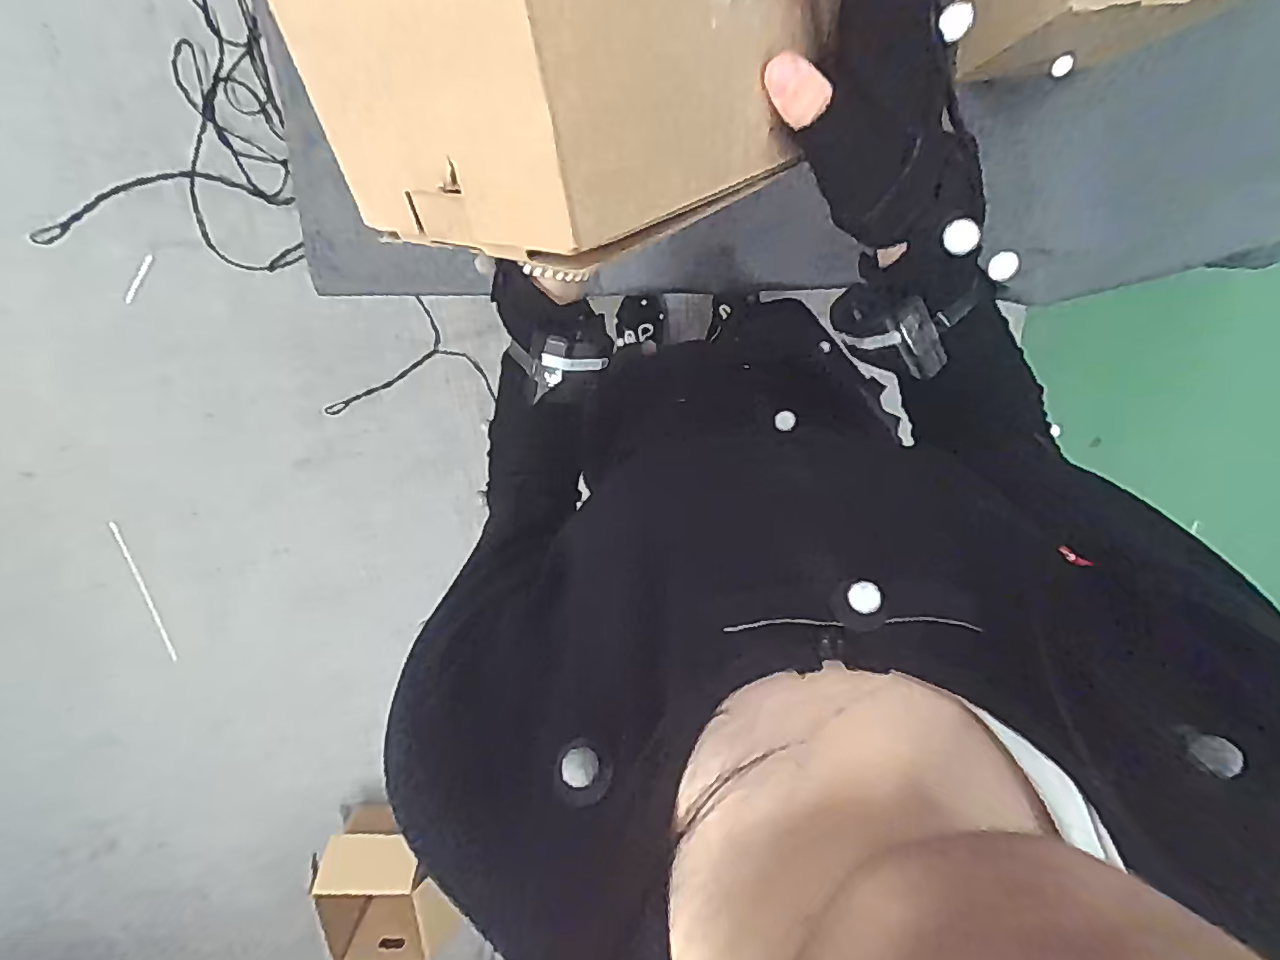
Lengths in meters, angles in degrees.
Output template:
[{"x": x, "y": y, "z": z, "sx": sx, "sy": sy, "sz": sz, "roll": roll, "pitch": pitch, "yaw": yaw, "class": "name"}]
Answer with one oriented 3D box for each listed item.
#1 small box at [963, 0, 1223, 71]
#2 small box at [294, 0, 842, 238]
[{"x": 0.425, "y": -0.511, "z": 0.490, "sx": 0.168, "sy": 0.176, "sz": 0.179, "roll": -6, "pitch": 110, "yaw": 0, "class": "small box"}, {"x": -0.033, "y": -0.215, "z": 0.218, "sx": 0.179, "sy": 0.168, "sz": 0.176, "roll": -38, "pitch": 137, "yaw": -30, "class": "small box"}]
